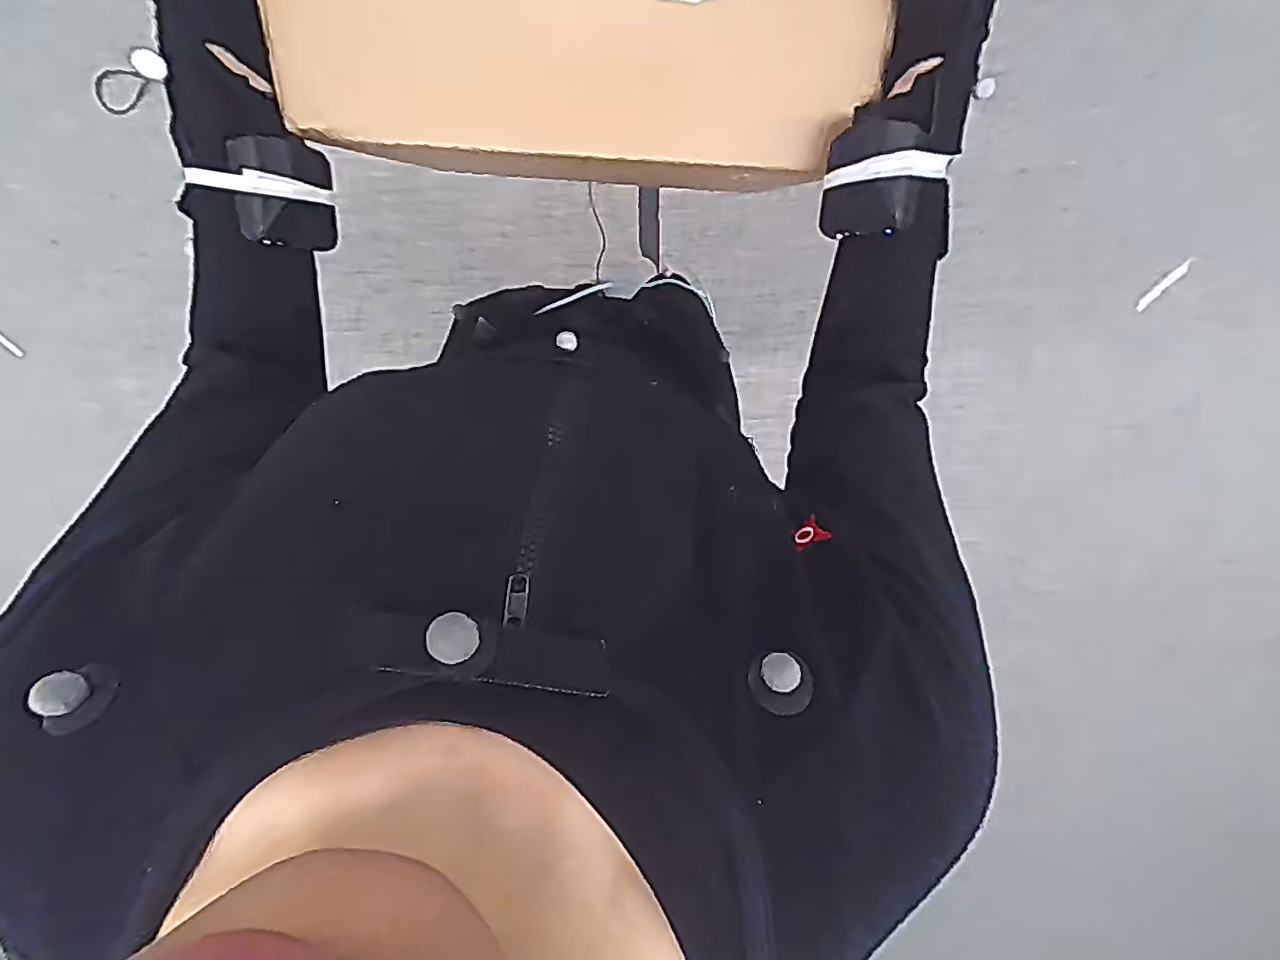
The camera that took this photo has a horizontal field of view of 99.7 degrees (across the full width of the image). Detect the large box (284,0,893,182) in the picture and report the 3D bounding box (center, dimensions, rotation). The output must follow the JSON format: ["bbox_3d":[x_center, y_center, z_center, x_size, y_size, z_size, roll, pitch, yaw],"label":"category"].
[{"bbox_3d":[-0.035,-0.441,0.454,0.408,0.320,0.320,1,117,-4],"label":"large box"}]
